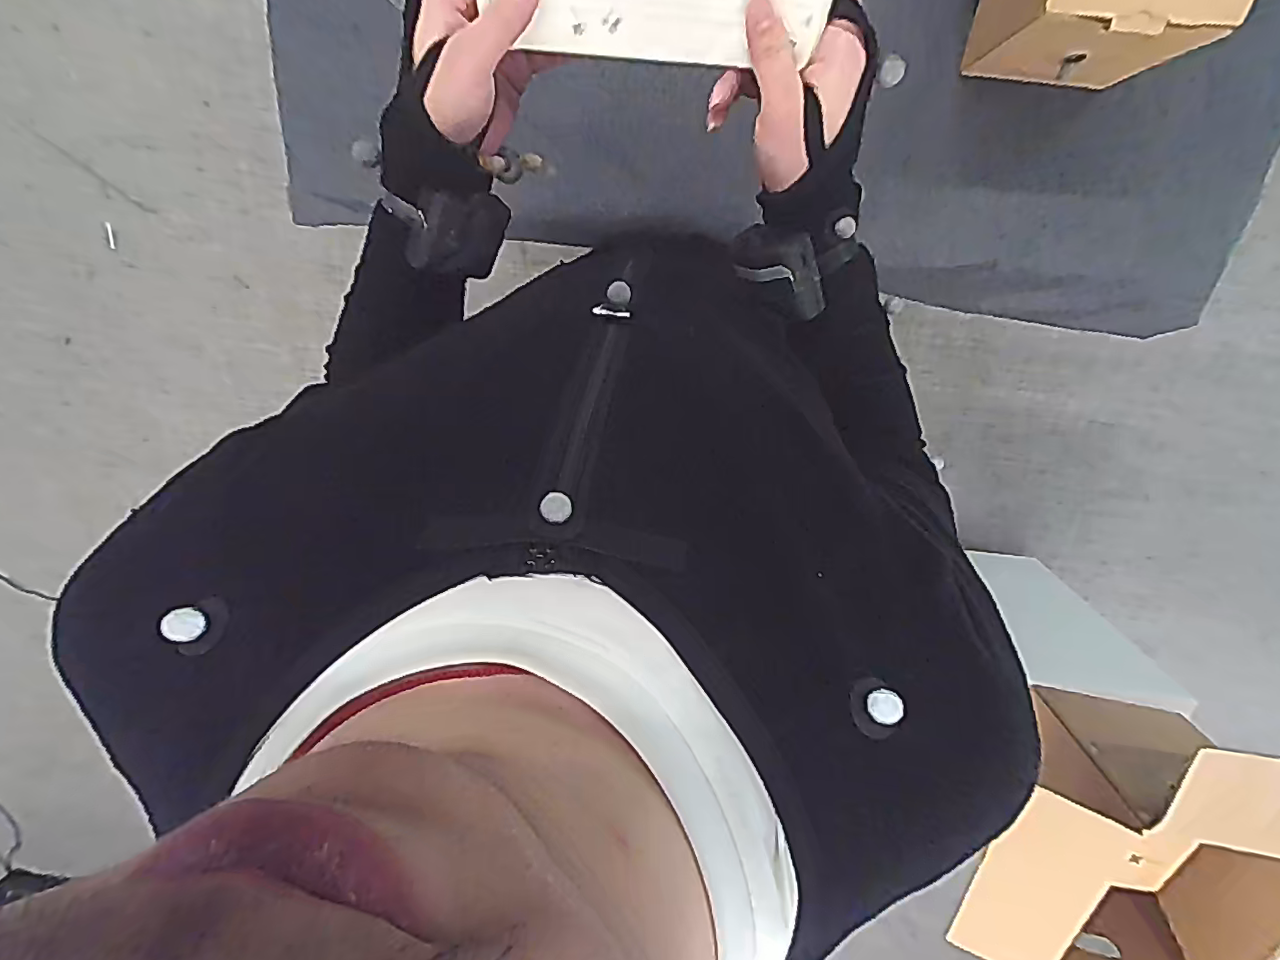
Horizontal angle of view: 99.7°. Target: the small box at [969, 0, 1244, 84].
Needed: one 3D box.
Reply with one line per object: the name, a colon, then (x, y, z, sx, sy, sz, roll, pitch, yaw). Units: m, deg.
small box: (0.451, -0.505, 0.516, 0.168, 0.176, 0.179, 7, 114, 3)
